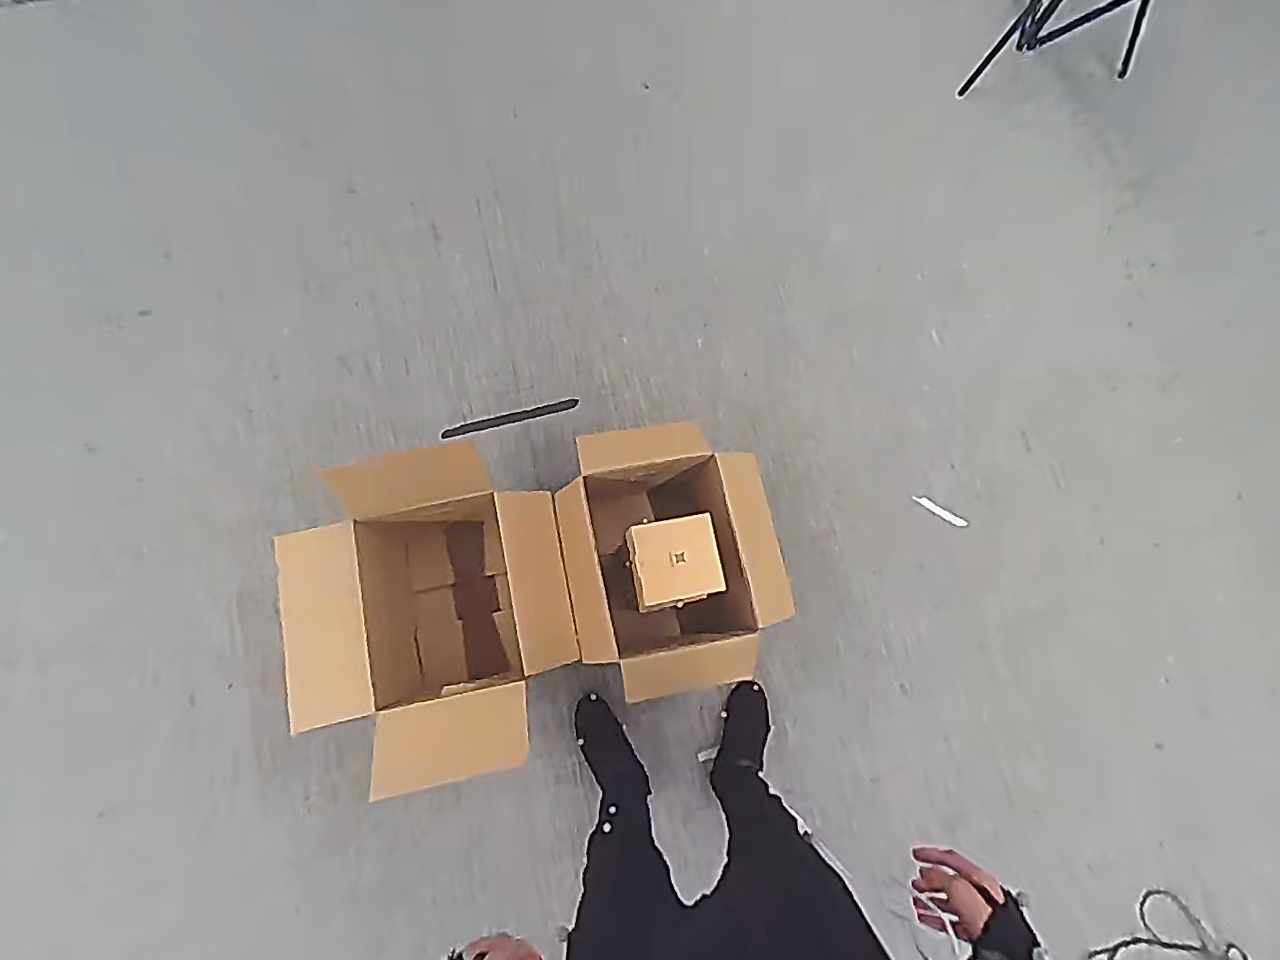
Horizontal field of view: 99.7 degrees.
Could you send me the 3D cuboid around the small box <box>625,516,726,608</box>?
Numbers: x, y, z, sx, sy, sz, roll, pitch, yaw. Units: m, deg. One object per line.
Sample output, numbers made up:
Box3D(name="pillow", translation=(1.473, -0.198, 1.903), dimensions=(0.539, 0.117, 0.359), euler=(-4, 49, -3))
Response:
Box3D(name="small box", translation=(0.070, 0.181, 1.191), dimensions=(0.179, 0.176, 0.168), euler=(-10, 80, -7))
